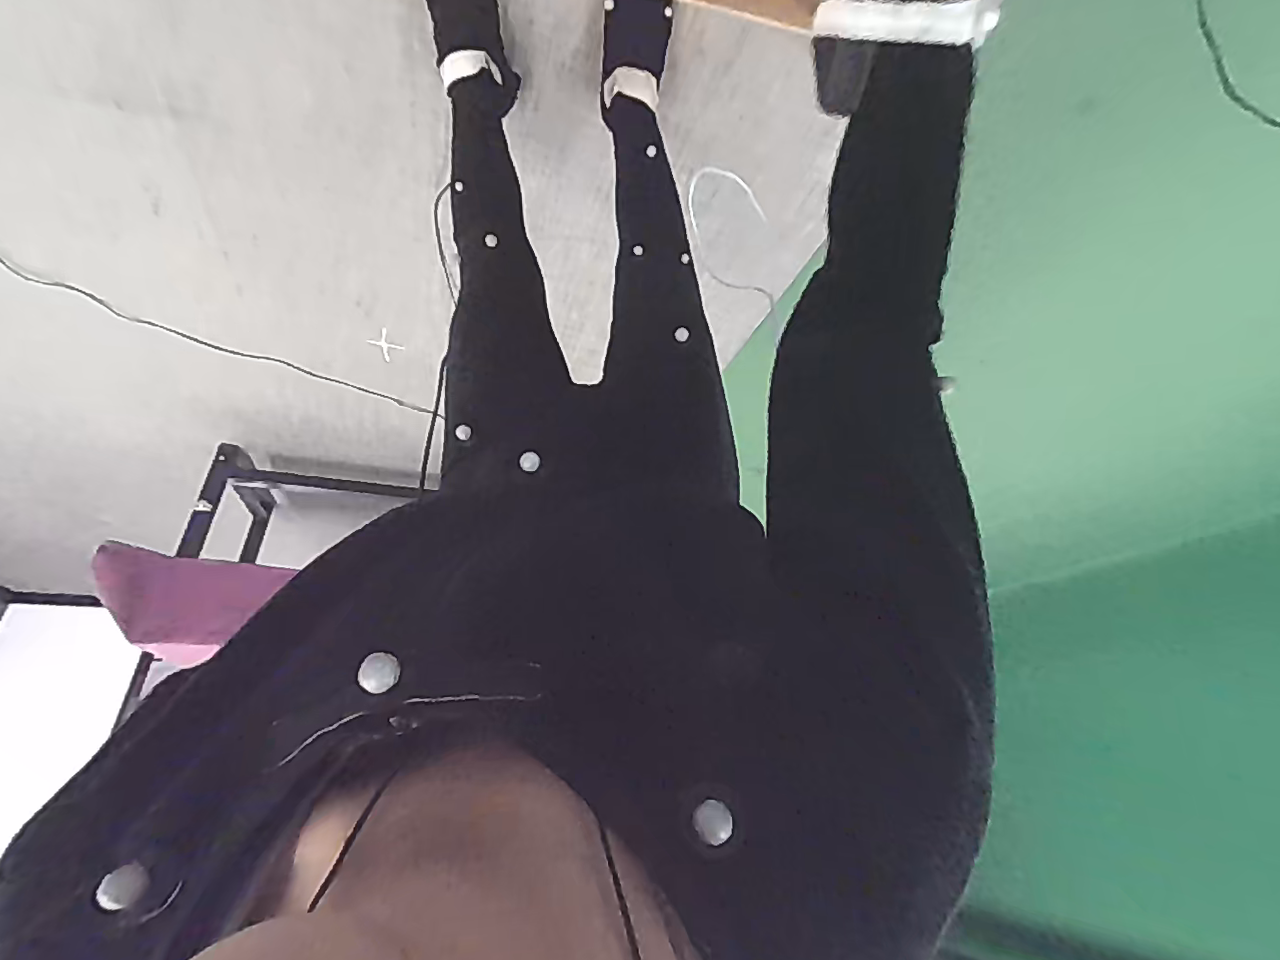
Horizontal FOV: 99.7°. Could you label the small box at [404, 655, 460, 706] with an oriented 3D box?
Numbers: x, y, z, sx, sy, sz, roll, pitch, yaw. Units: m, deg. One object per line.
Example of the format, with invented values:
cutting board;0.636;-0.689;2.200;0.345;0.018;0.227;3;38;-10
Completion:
small box;-0.810;0.787;2.118;0.179;0.176;0.168;7;151;-15
